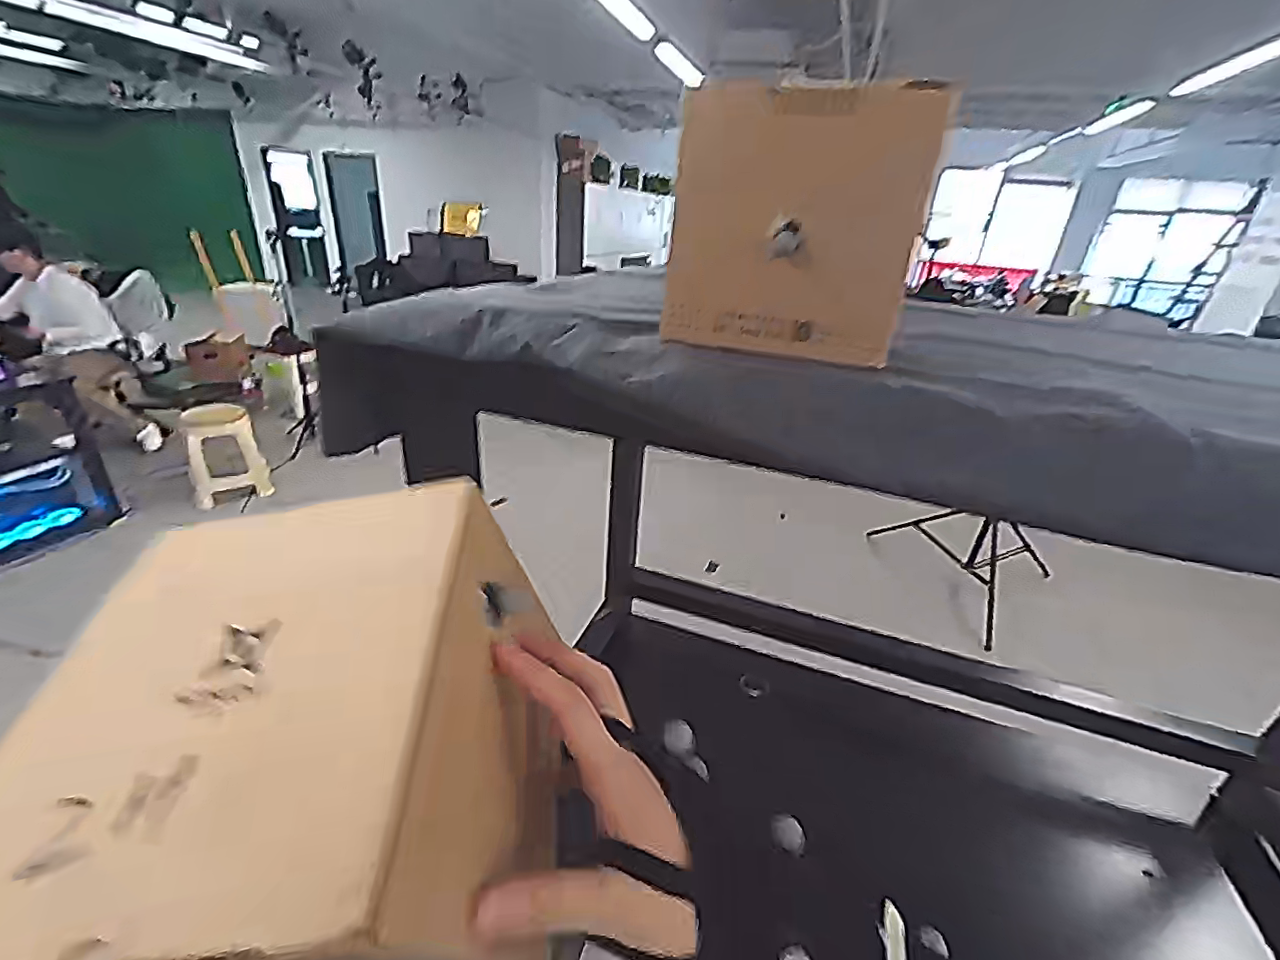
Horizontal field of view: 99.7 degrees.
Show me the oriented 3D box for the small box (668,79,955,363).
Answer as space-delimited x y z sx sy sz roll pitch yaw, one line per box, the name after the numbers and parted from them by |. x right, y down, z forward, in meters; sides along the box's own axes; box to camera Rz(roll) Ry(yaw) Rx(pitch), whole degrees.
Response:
0.122 -0.199 0.435 0.168 0.176 0.179 11 26 12 | small box

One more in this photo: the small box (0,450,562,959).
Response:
-0.139 0.114 0.257 0.168 0.176 0.179 -10 45 4 | small box
